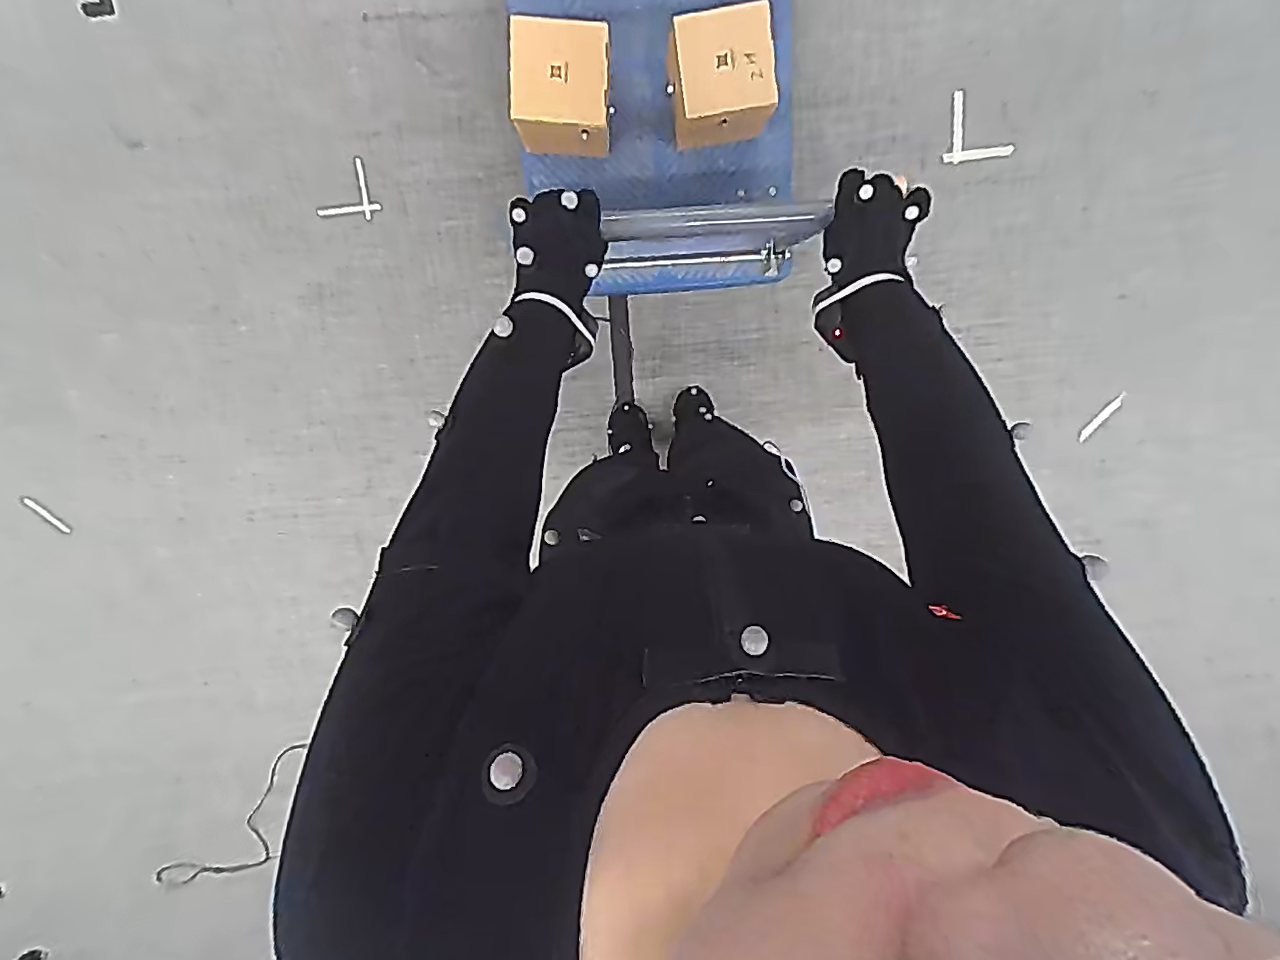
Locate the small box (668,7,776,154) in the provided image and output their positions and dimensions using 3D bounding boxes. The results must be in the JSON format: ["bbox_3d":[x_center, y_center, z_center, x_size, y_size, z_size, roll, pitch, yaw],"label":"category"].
[{"bbox_3d":[0.151,-0.763,1.054,0.179,0.176,0.168,-9,103,1],"label":"small box"}]

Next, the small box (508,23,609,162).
[{"bbox_3d":[-0.152,-0.741,1.052,0.179,0.176,0.168,1,102,-3],"label":"small box"}]
